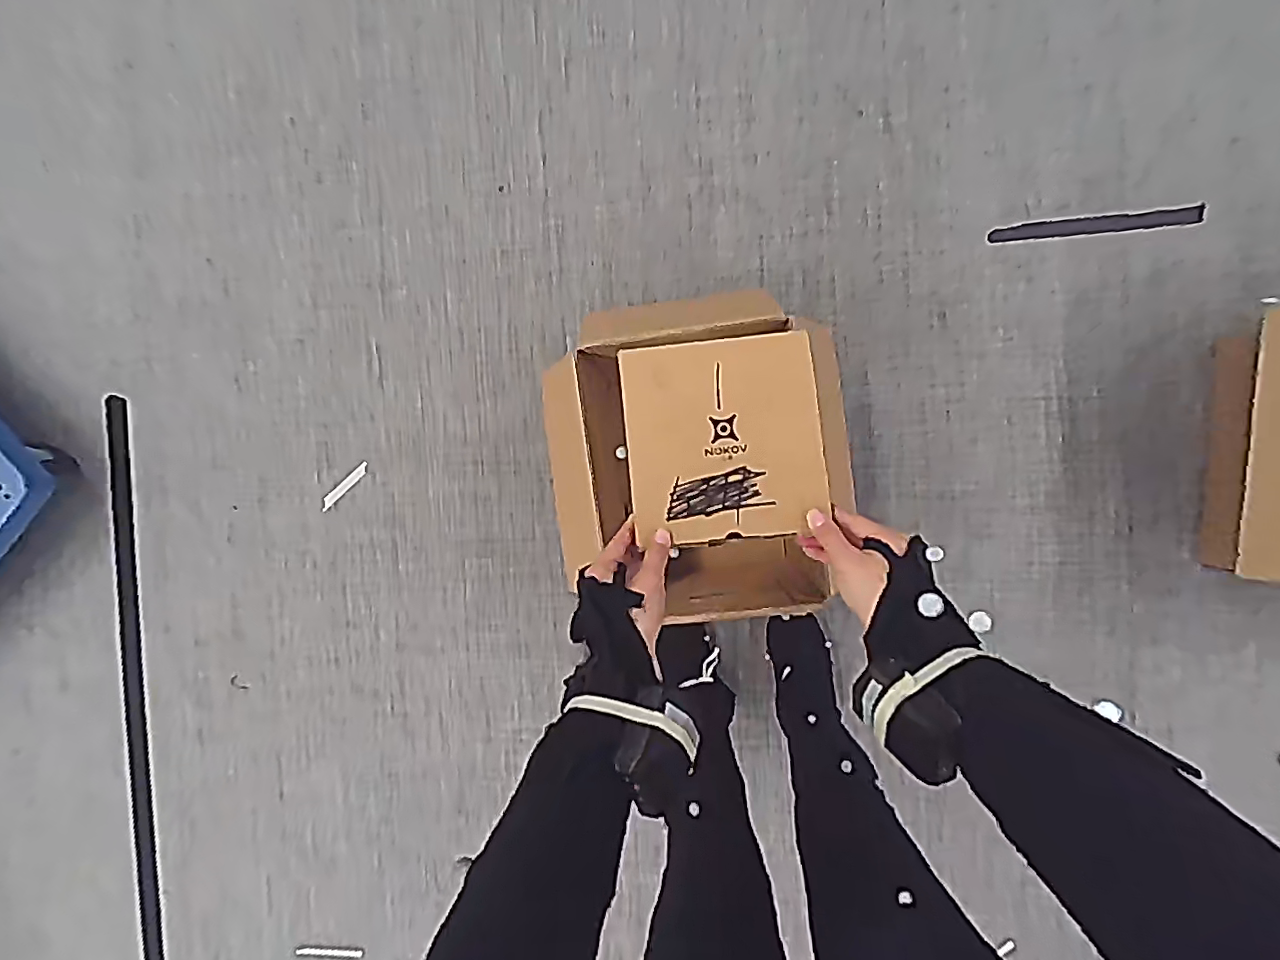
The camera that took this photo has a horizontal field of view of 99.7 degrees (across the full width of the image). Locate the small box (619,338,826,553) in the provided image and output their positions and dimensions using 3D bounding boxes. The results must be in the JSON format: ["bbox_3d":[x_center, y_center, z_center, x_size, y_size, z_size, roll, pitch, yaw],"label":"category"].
[{"bbox_3d":[0.074,-0.024,0.545,0.168,0.176,0.179,-6,83,2],"label":"small box"}]
